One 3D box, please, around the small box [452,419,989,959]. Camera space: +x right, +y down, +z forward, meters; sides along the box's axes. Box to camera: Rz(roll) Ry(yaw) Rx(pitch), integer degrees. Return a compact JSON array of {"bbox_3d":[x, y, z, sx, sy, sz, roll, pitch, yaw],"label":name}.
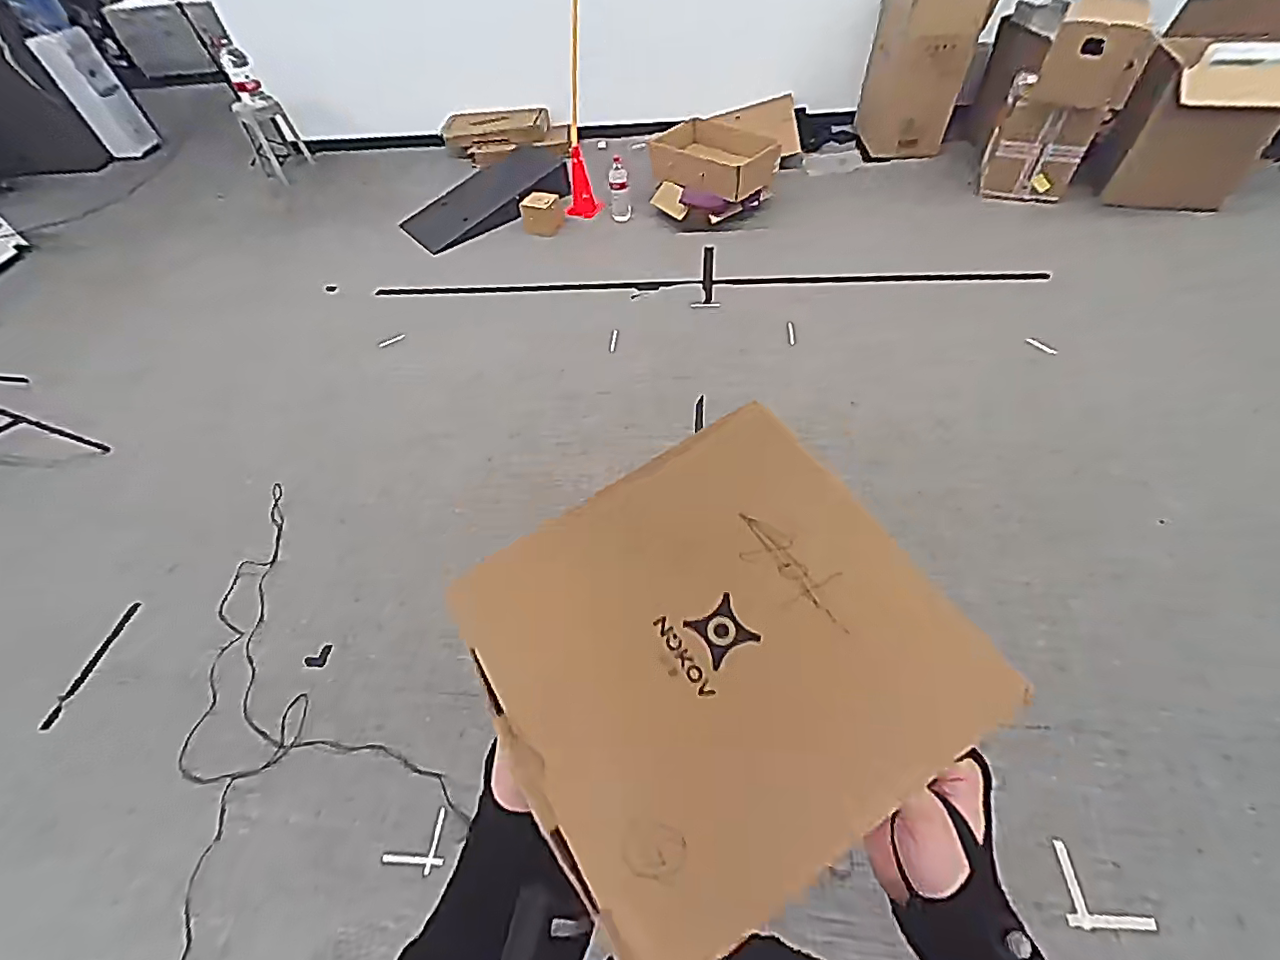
[{"bbox_3d":[0.033,0.106,0.303,0.179,0.176,0.168,-32,66,-11],"label":"small box"}]
